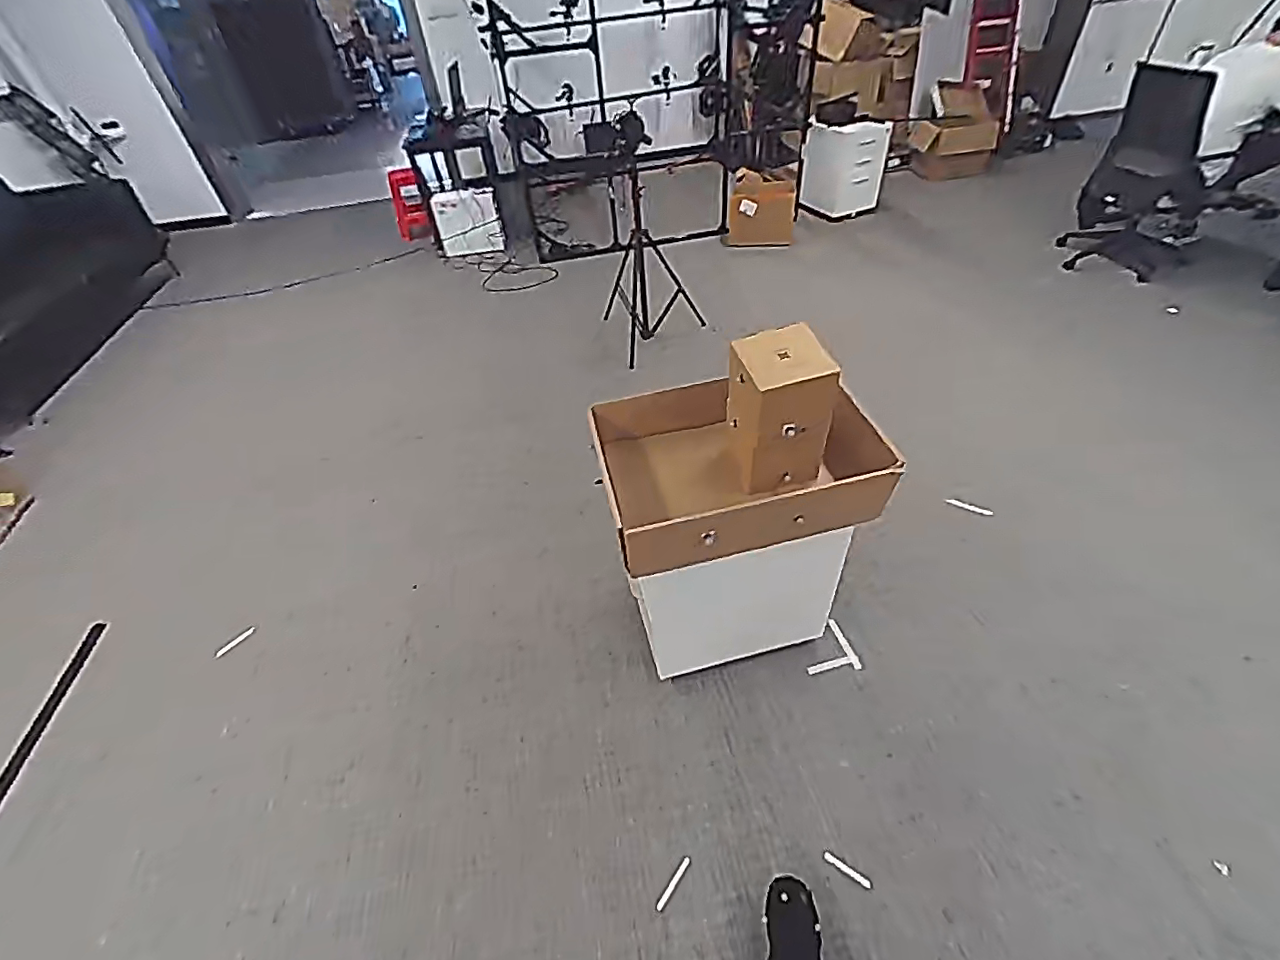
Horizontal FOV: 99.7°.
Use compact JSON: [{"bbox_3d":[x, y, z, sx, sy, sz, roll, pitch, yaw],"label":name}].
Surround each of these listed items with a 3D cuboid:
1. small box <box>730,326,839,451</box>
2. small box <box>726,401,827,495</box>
[{"bbox_3d":[0.292,-0.191,1.140,0.168,0.176,0.179,-15,50,-4],"label":"small box"},{"bbox_3d":[0.309,-0.090,1.268,0.179,0.176,0.168,-14,48,-5],"label":"small box"}]
